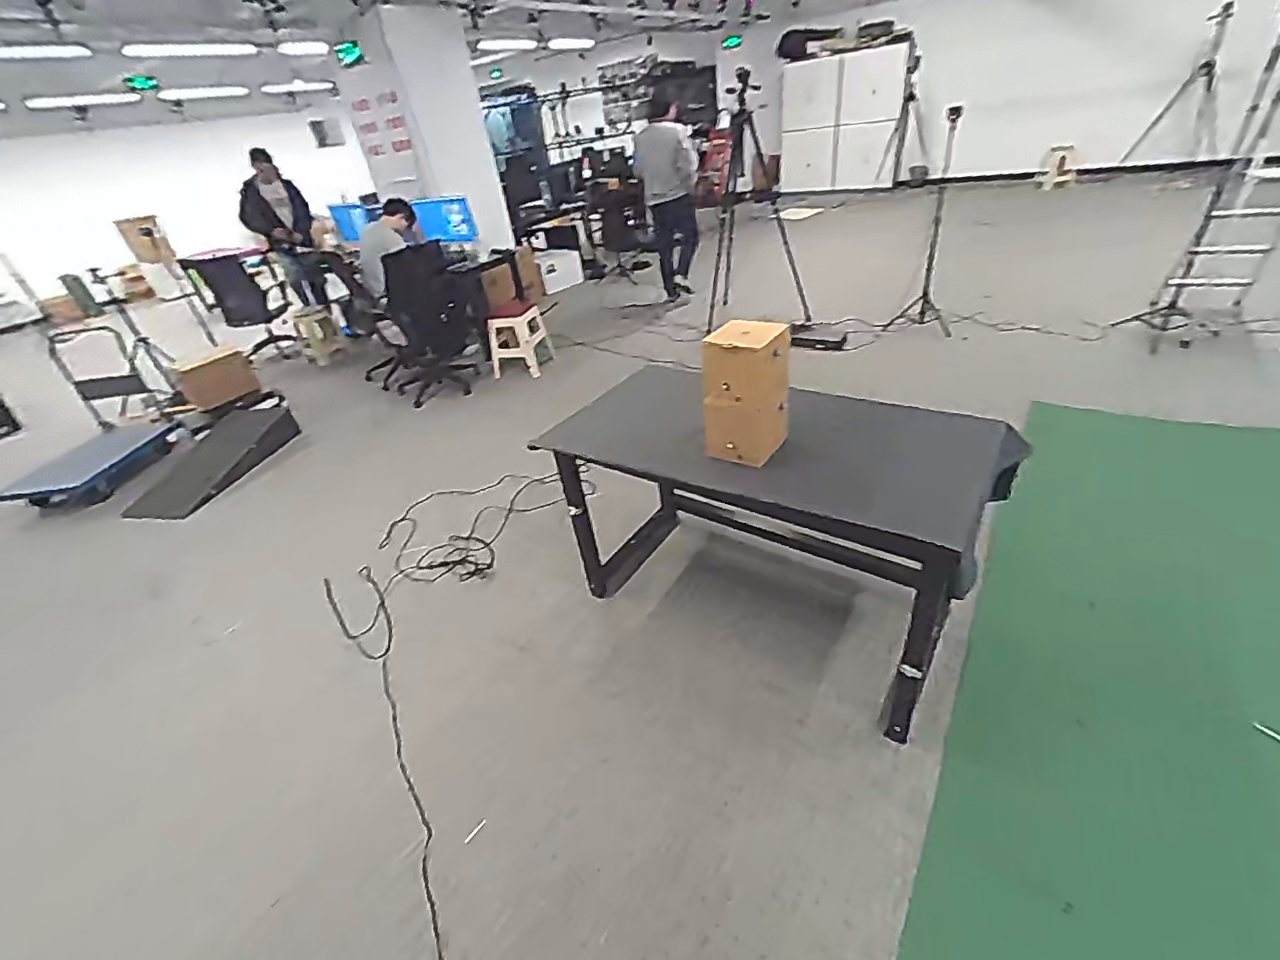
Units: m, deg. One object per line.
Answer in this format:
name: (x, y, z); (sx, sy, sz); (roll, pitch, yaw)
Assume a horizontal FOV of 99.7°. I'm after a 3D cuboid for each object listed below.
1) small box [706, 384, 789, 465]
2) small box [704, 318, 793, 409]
small box: (0.294, -0.166, 1.482); (0.168, 0.176, 0.179); (17, 41, 33)
small box: (0.279, -0.303, 1.396); (0.168, 0.176, 0.179); (18, 41, 32)
